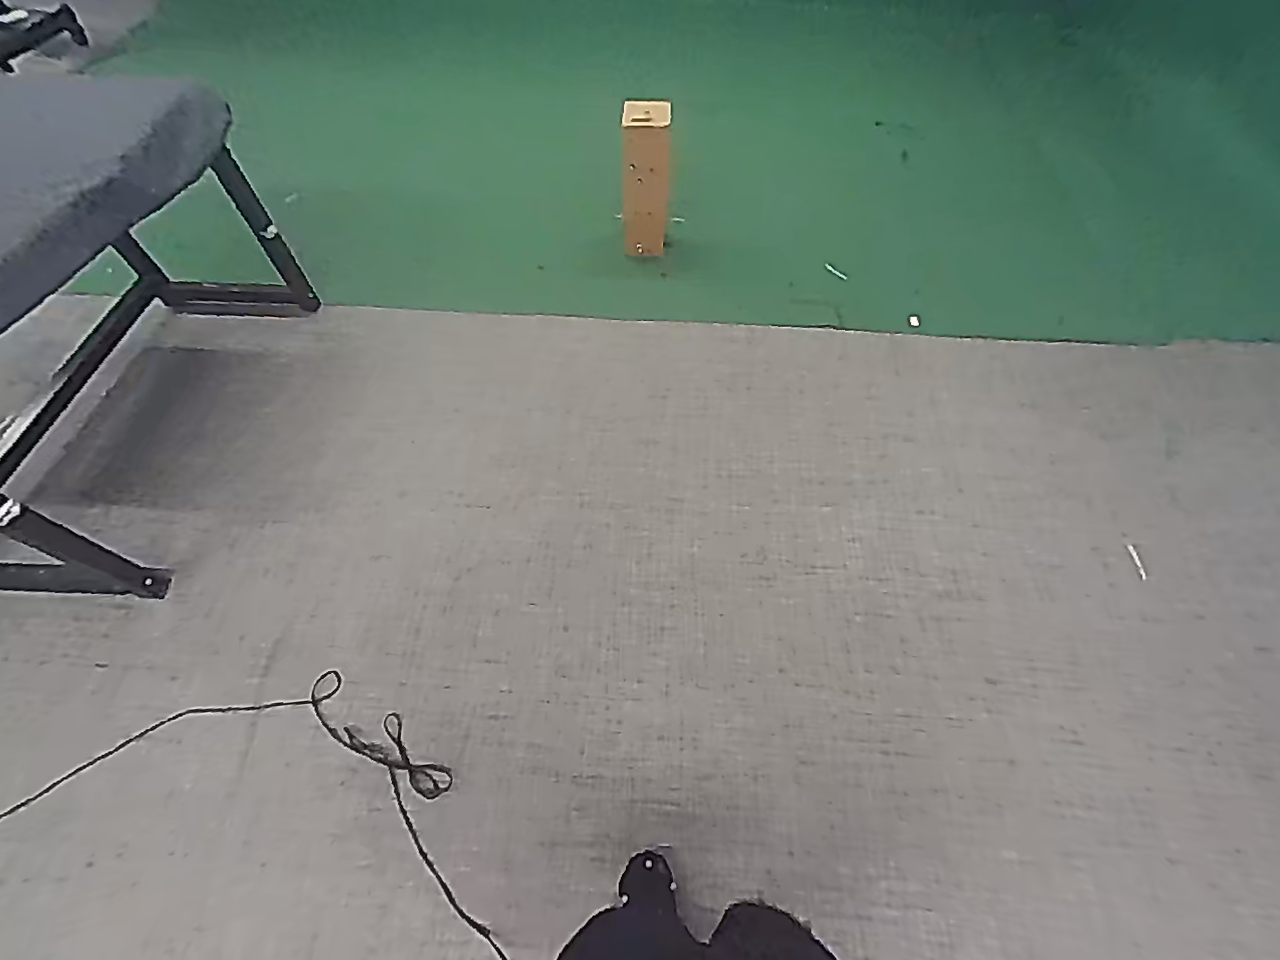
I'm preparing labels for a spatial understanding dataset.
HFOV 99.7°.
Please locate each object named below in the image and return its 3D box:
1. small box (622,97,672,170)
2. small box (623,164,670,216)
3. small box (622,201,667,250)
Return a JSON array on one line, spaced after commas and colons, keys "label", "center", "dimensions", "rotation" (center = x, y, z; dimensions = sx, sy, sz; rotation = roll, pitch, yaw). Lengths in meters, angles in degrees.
[{"label": "small box", "center": [0.027, -1.225, 1.918], "dimensions": [0.168, 0.176, 0.179], "rotation": [3, 57, 1]}, {"label": "small box", "center": [0.025, -1.136, 2.056], "dimensions": [0.168, 0.176, 0.179], "rotation": [4, 57, 2]}, {"label": "small box", "center": [0.020, -1.058, 2.179], "dimensions": [0.168, 0.176, 0.179], "rotation": [4, 58, 4]}]
